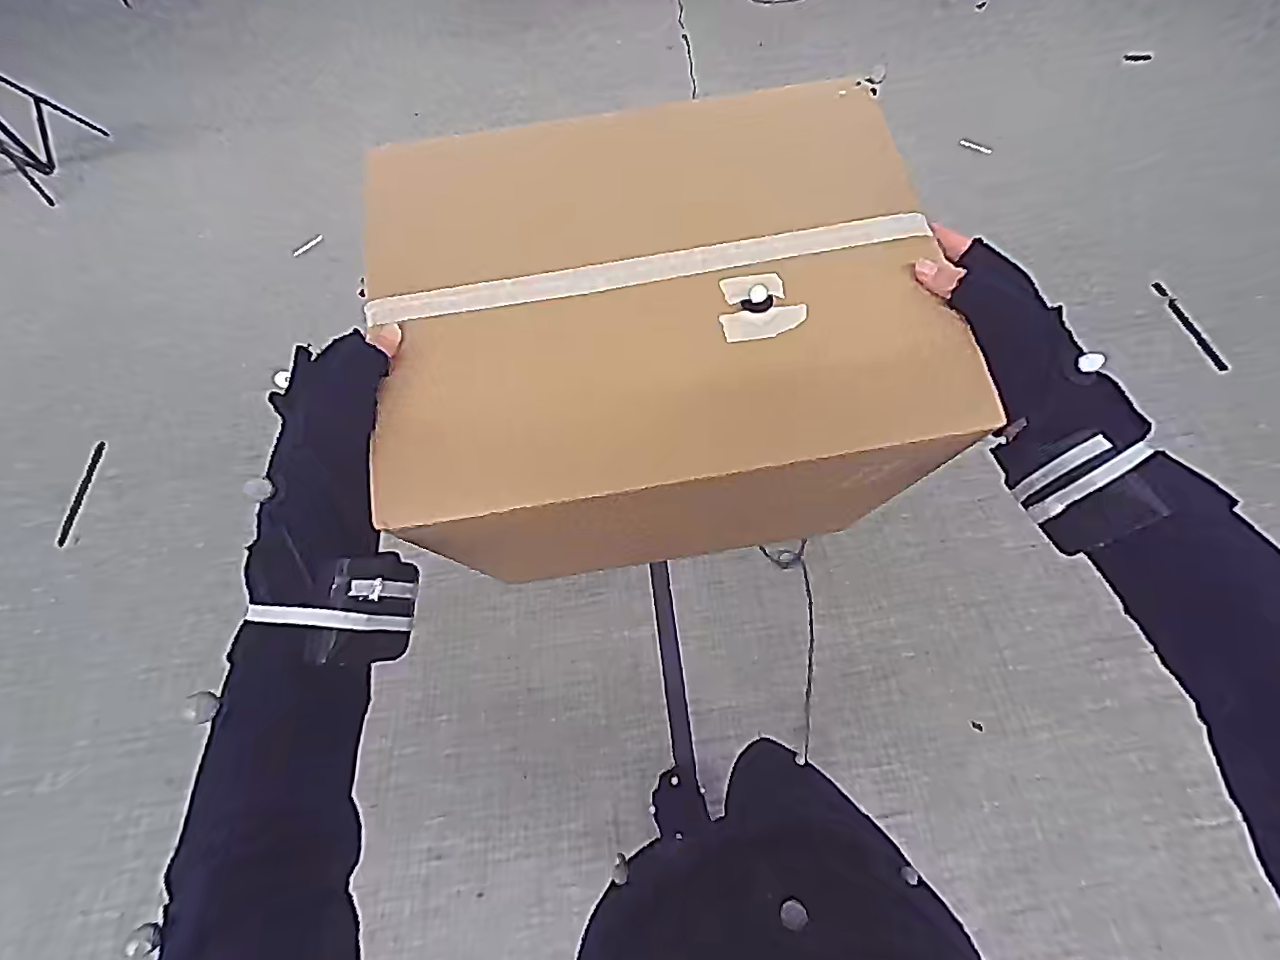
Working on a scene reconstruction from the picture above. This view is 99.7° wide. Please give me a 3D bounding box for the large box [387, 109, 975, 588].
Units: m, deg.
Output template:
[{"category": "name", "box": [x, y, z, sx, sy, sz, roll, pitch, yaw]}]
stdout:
[{"category": "large box", "box": [0.013, -0.094, 0.549, 0.408, 0.320, 0.320, -10, 72, -2]}]
